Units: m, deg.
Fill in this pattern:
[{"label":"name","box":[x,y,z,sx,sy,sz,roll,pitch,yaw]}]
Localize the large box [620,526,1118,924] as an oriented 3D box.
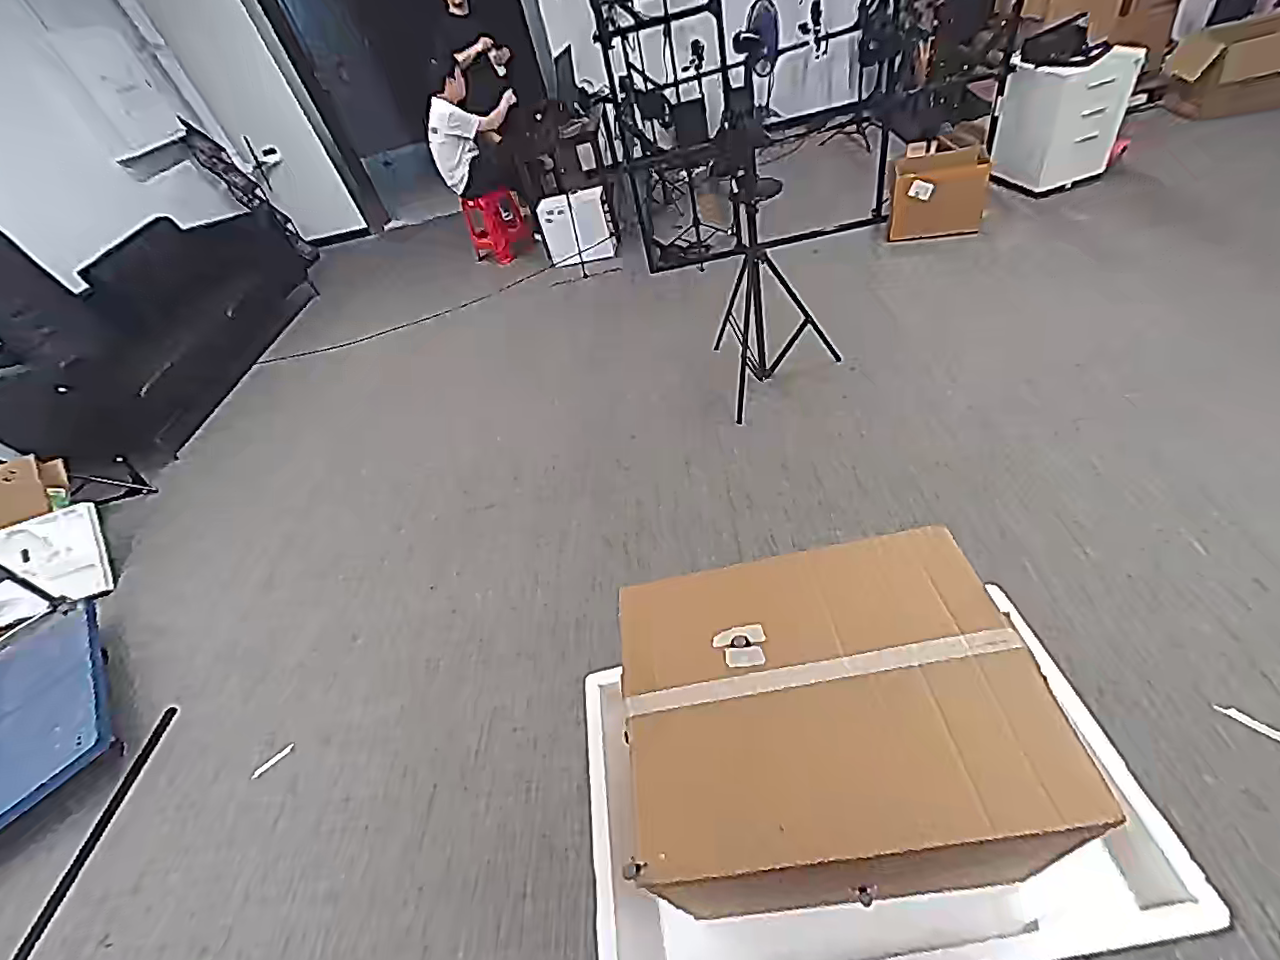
[{"label":"large box","box":[0.217,0.307,0.658,0.408,0.320,0.320,-14,44,7]}]
